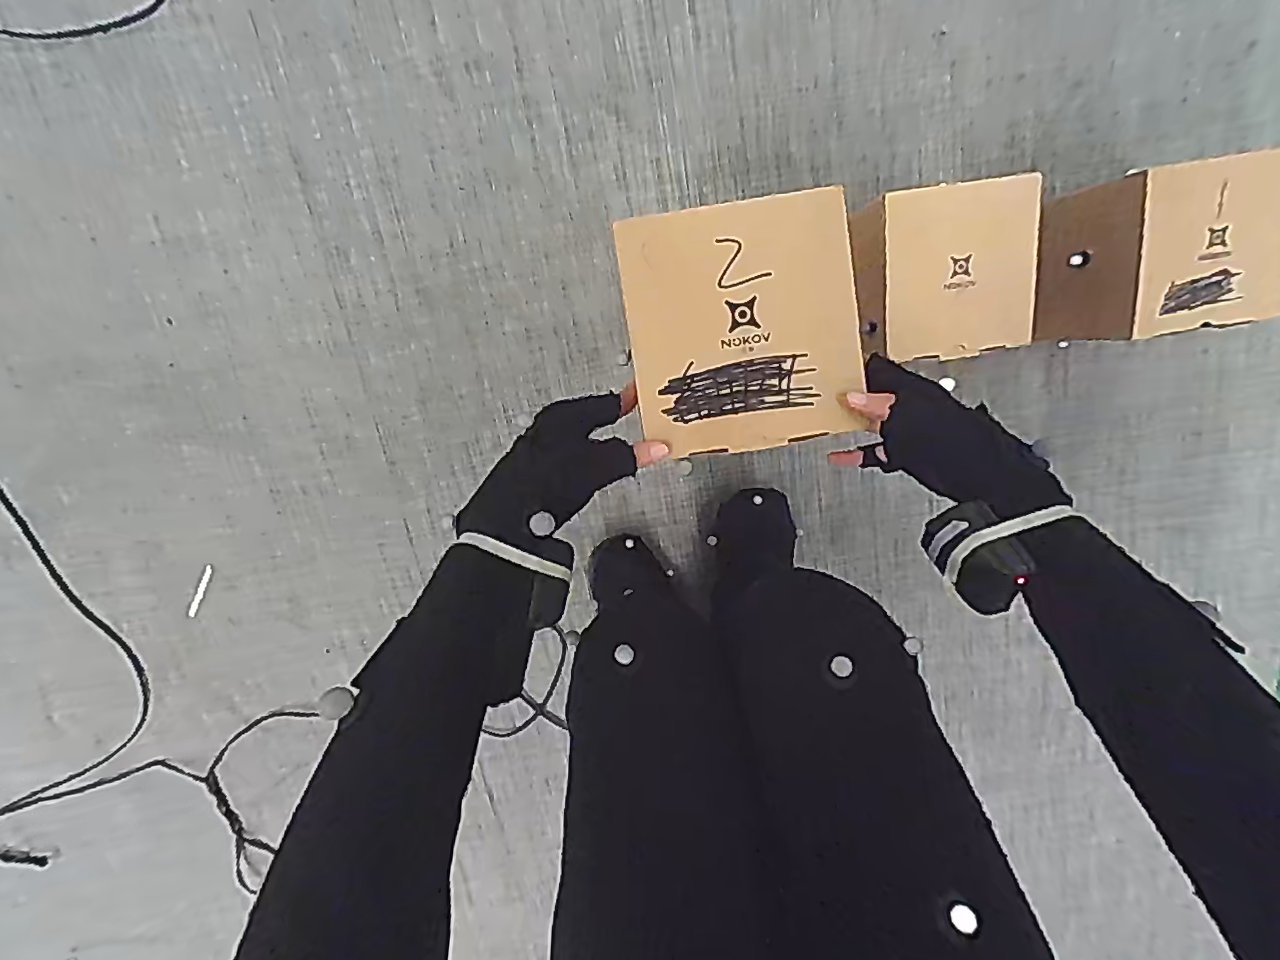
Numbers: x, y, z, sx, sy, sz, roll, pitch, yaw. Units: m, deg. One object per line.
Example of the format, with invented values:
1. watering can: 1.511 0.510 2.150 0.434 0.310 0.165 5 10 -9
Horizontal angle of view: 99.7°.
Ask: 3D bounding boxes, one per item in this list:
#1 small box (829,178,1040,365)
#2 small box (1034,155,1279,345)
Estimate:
1. small box: 0.339 -0.238 0.654 0.168 0.176 0.179 -8 104 0
2. small box: 0.607 -0.264 0.656 0.168 0.176 0.179 -8 104 0
